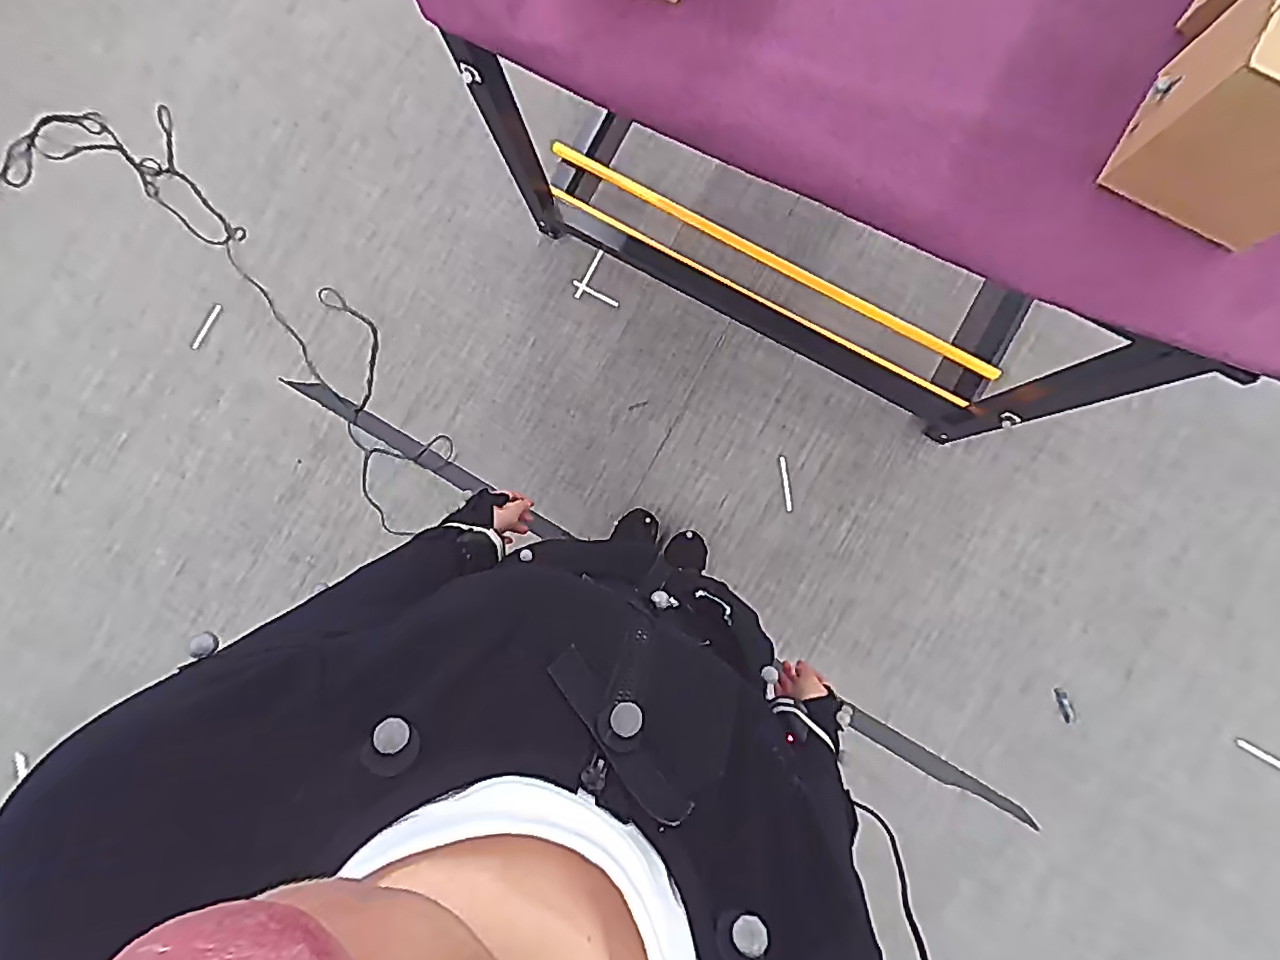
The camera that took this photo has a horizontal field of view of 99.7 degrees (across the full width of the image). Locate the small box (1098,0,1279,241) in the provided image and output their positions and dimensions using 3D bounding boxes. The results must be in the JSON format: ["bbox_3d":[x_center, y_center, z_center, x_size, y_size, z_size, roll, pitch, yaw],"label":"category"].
[{"bbox_3d":[0.649,-0.382,0.558,0.179,0.176,0.168,31,87,5],"label":"small box"}]
